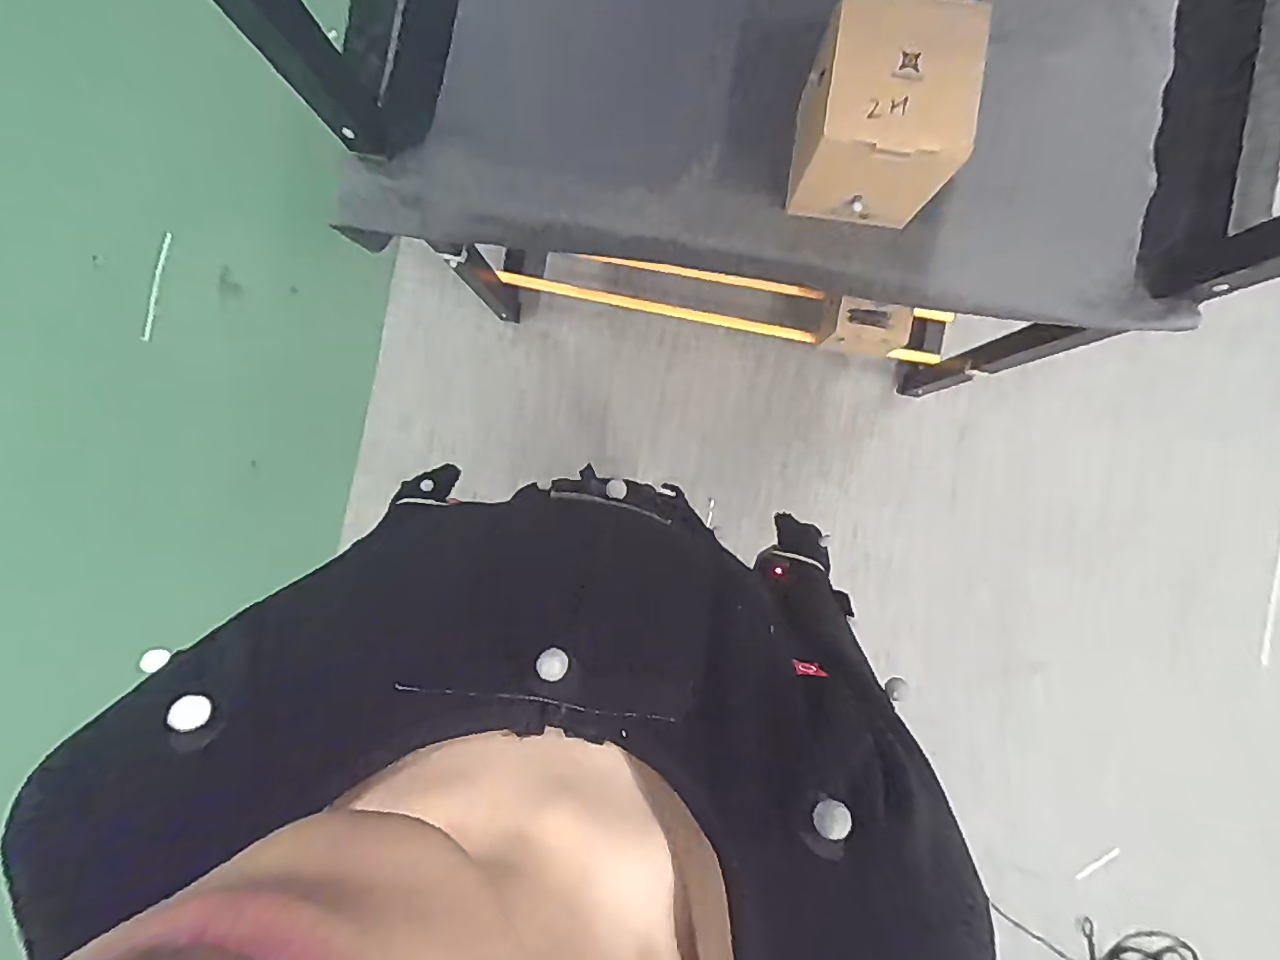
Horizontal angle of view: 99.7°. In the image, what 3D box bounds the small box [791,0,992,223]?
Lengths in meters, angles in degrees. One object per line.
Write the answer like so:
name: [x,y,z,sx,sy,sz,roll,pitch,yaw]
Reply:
small box: [0.299,-0.457,0.677,0.168,0.176,0.179,8,89,2]
